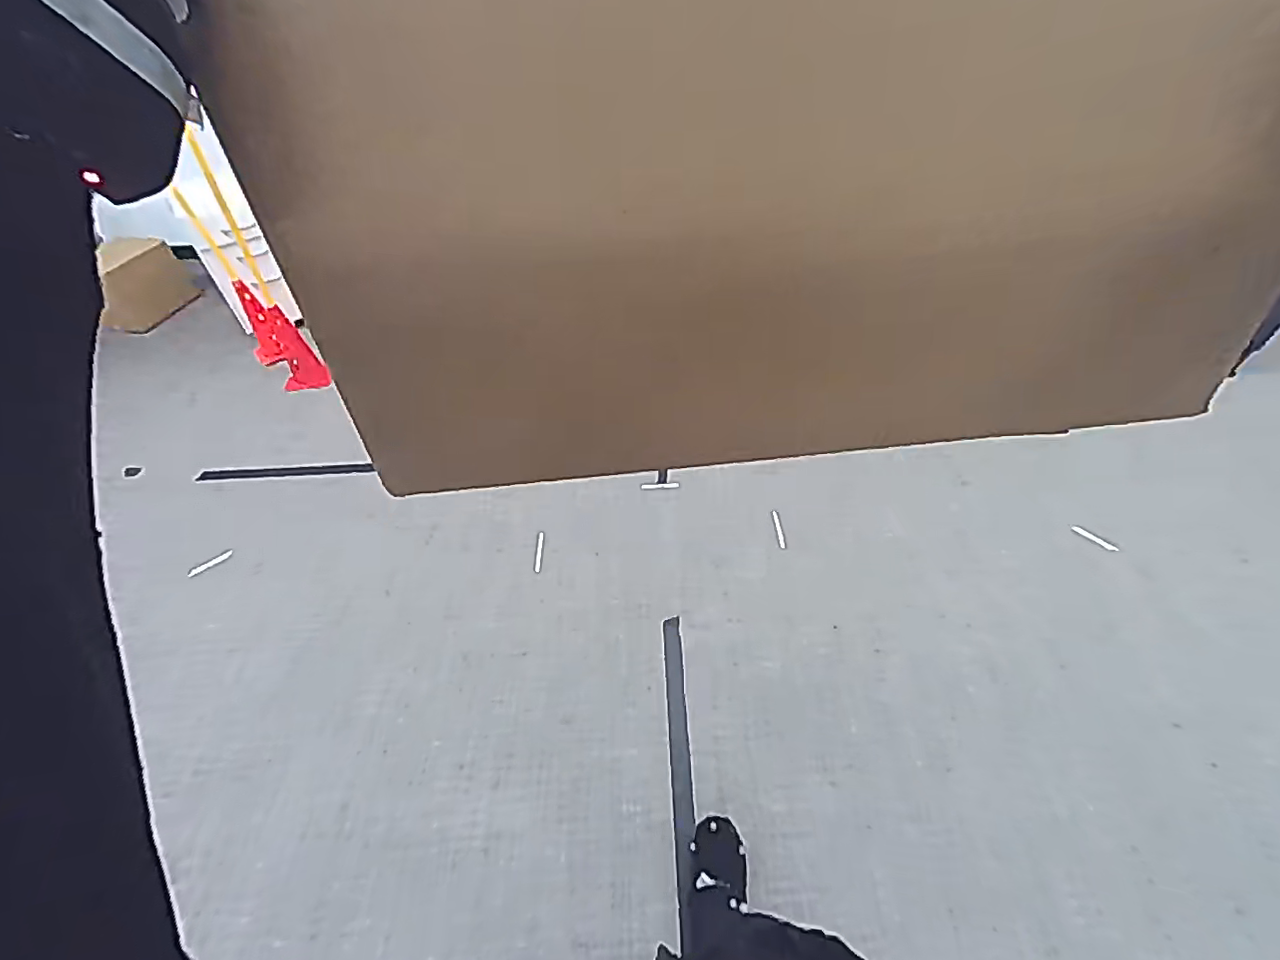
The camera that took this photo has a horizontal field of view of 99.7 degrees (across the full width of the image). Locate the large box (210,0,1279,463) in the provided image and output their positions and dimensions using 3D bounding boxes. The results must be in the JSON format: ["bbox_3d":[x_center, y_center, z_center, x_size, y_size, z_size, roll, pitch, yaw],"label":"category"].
[{"bbox_3d":[0.053,-0.233,0.302,0.408,0.320,0.320,-5,38,-1],"label":"large box"}]
